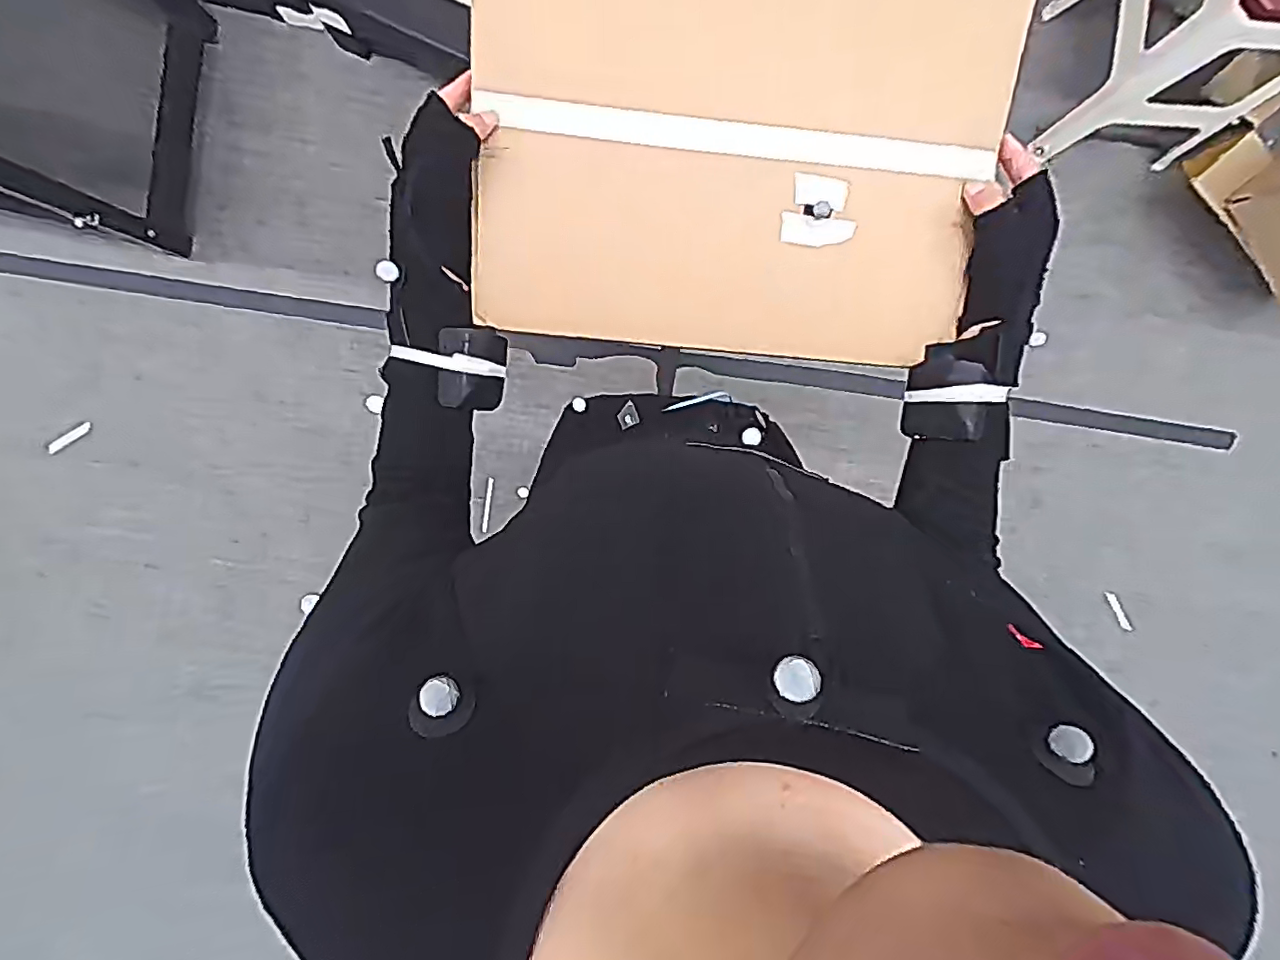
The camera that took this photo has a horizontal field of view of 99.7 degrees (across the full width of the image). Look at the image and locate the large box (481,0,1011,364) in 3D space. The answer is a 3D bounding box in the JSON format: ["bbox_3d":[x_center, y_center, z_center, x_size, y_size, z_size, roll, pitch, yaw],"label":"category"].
[{"bbox_3d":[0.065,-0.302,0.571,0.408,0.320,0.320,4,107,-5],"label":"large box"}]
